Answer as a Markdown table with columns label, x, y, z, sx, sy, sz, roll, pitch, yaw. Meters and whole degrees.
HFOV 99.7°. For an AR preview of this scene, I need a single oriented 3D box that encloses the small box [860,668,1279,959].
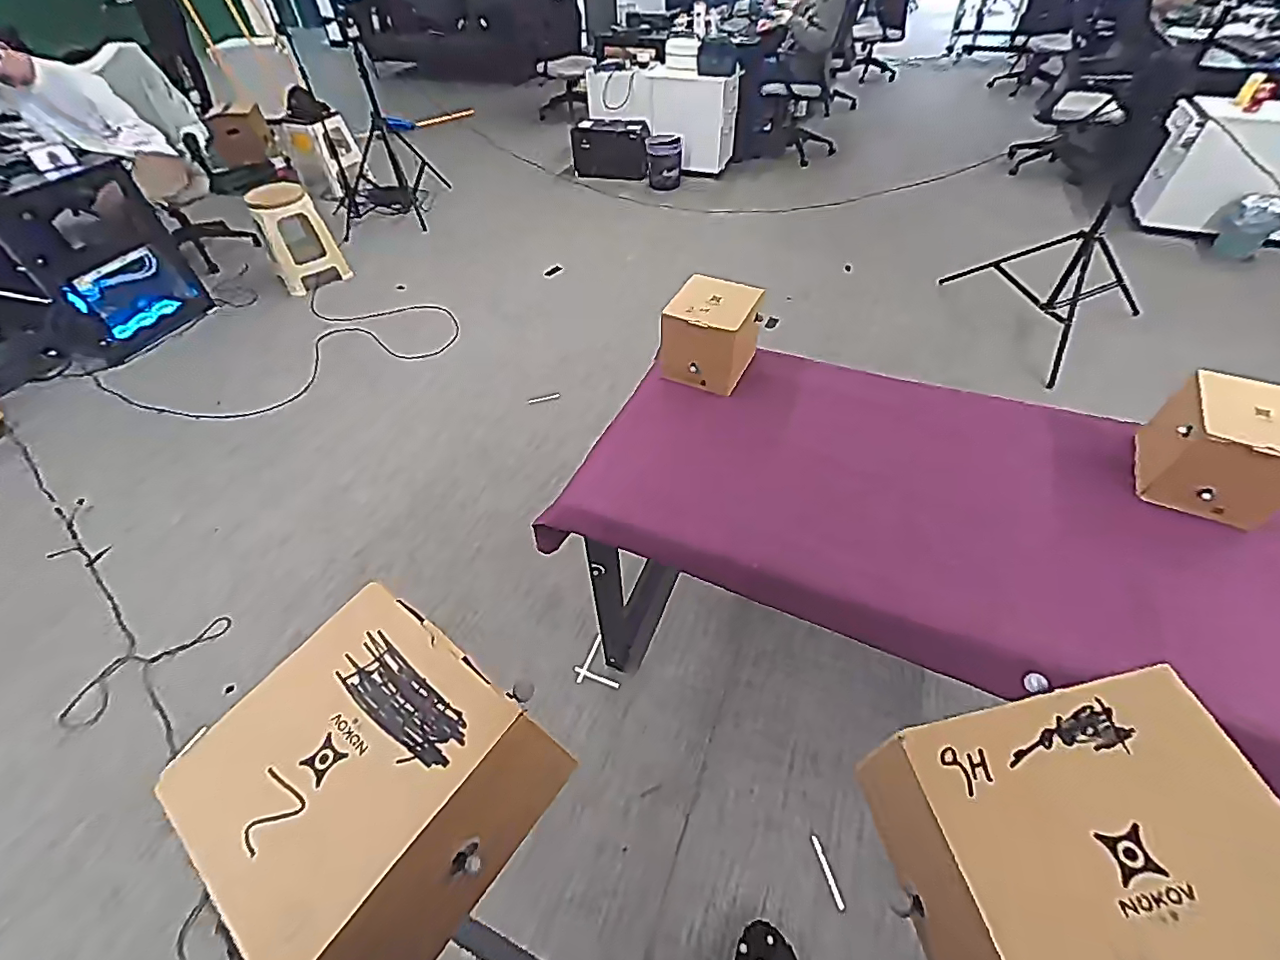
| label | x | y | z | sx | sy | sz | roll | pitch | yaw |
| --- | --- | --- | --- | --- | --- | --- | --- | --- | --- |
| small box | 0.263 | 0.243 | 0.340 | 0.168 | 0.176 | 0.179 | -15 | 55 | 1 |

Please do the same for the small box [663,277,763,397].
| label | x | y | z | sx | sy | sz | roll | pitch | yaw |
| --- | --- | --- | --- | --- | --- | --- | --- | --- | --- |
| small box | 0.156 | -0.316 | 1.194 | 0.168 | 0.176 | 0.179 | 20 | 54 | 19 |

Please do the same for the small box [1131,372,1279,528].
| label | x | y | z | sx | sy | sz | roll | pitch | yaw |
| --- | --- | --- | --- | --- | --- | --- | --- | --- | --- |
| small box | 0.992 | -0.050 | 0.930 | 0.168 | 0.176 | 0.179 | 20 | 56 | 19 |
